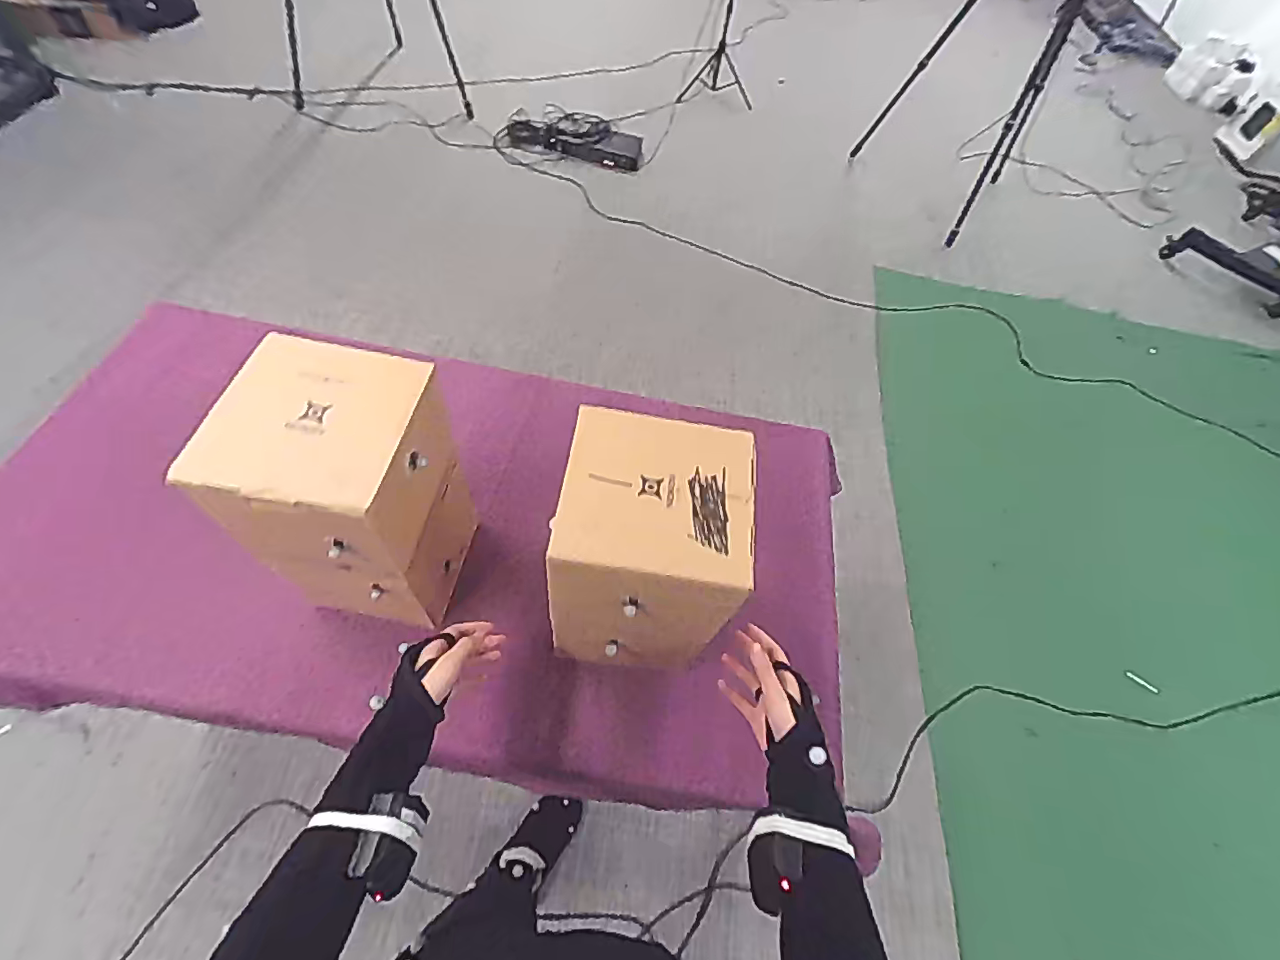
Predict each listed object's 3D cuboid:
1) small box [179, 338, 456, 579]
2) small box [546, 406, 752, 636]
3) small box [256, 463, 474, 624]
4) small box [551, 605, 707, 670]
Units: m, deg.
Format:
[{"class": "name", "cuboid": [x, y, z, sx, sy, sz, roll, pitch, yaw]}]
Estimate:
[{"class": "small box", "cuboid": [-0.305, -0.014, 0.565, 0.168, 0.176, 0.179, 11, 56, -3]}, {"class": "small box", "cuboid": [0.007, 0.051, 0.560, 0.179, 0.176, 0.168, 9, 56, -2]}, {"class": "small box", "cuboid": [-0.333, 0.071, 0.700, 0.179, 0.176, 0.168, 13, 56, -1]}, {"class": "small box", "cuboid": [-0.012, 0.136, 0.699, 0.179, 0.176, 0.168, 9, 56, -2]}]
